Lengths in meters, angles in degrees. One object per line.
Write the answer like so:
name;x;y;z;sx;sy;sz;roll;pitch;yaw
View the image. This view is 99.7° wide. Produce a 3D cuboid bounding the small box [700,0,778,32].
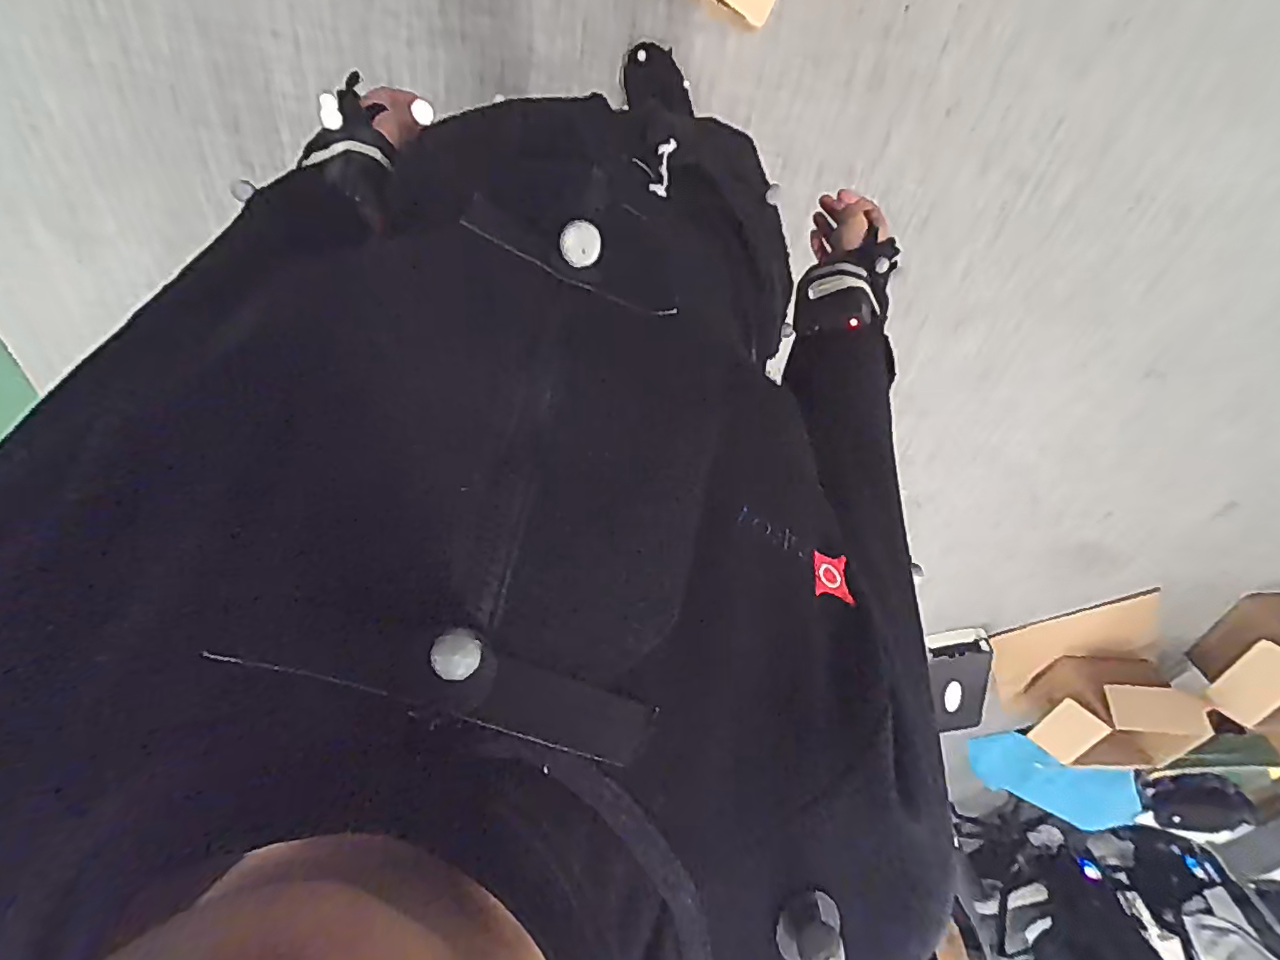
small box;0.156;-0.833;0.826;0.168;0.176;0.179;22;126;-18
